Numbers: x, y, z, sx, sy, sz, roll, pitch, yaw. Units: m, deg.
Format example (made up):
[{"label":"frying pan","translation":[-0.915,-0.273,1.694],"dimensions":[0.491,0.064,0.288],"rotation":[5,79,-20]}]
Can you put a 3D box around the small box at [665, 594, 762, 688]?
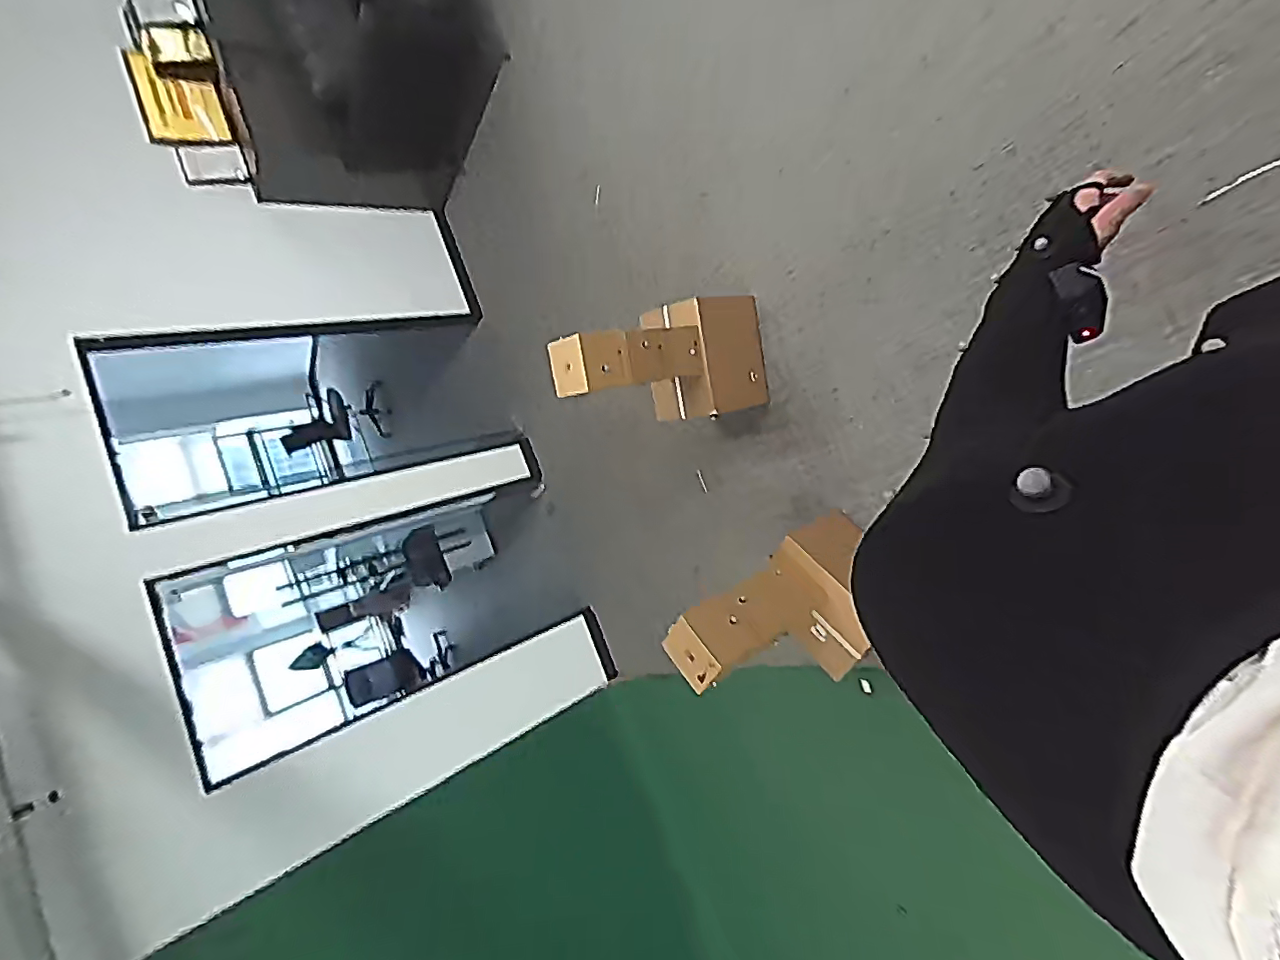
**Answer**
[{"label":"small box","translation":[0.205,0.443,1.521],"dimensions":[0.179,0.176,0.168],"rotation":[51,139,27]}]

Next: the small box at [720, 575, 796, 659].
[{"label":"small box","translation":[0.329,0.406,1.621],"dimensions":[0.179,0.176,0.168],"rotation":[50,138,27]}]

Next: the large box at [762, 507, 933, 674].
[{"label":"large box","translation":[0.680,0.358,1.840],"dimensions":[0.408,0.320,0.320],"rotation":[45,137,30]}]

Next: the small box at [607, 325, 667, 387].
[{"label":"small box","translation":[-0.026,-0.400,1.747],"dimensions":[0.179,0.176,0.168],"rotation":[2,106,51]}]

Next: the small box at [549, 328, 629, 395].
[{"label":"small box","translation":[-0.149,-0.361,1.649],"dimensions":[0.179,0.176,0.168],"rotation":[1,105,51]}]

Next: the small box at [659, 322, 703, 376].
[{"label":"small box","translation":[0.092,-0.442,1.851],"dimensions":[0.179,0.176,0.168],"rotation":[5,108,49]}]
